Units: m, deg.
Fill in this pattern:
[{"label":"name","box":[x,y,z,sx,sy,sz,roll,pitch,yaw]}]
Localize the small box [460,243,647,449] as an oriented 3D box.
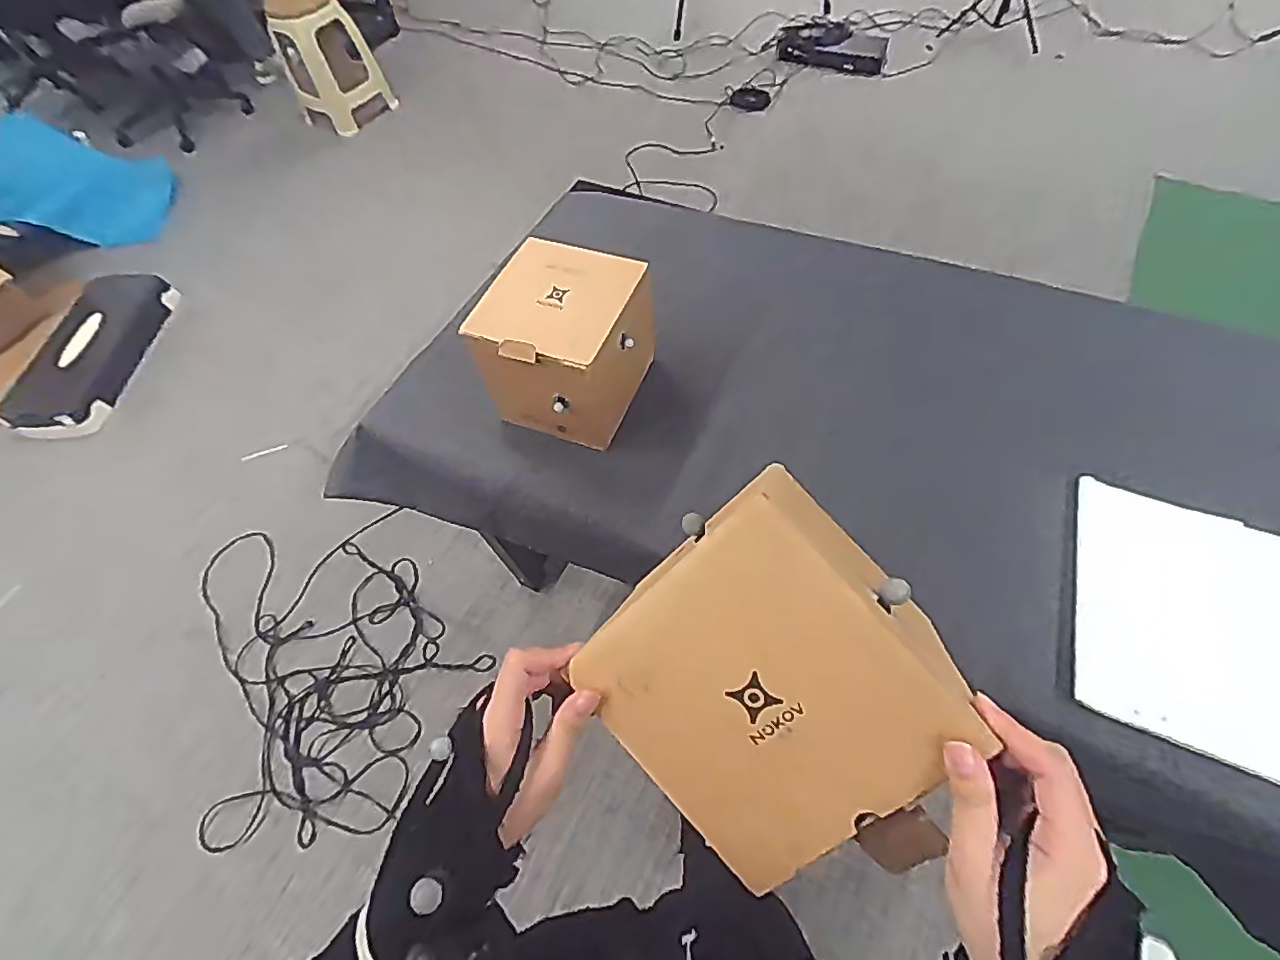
[{"label":"small box","box":[-0.093,-0.166,0.695,0.168,0.176,0.179,18,61,13]}]
